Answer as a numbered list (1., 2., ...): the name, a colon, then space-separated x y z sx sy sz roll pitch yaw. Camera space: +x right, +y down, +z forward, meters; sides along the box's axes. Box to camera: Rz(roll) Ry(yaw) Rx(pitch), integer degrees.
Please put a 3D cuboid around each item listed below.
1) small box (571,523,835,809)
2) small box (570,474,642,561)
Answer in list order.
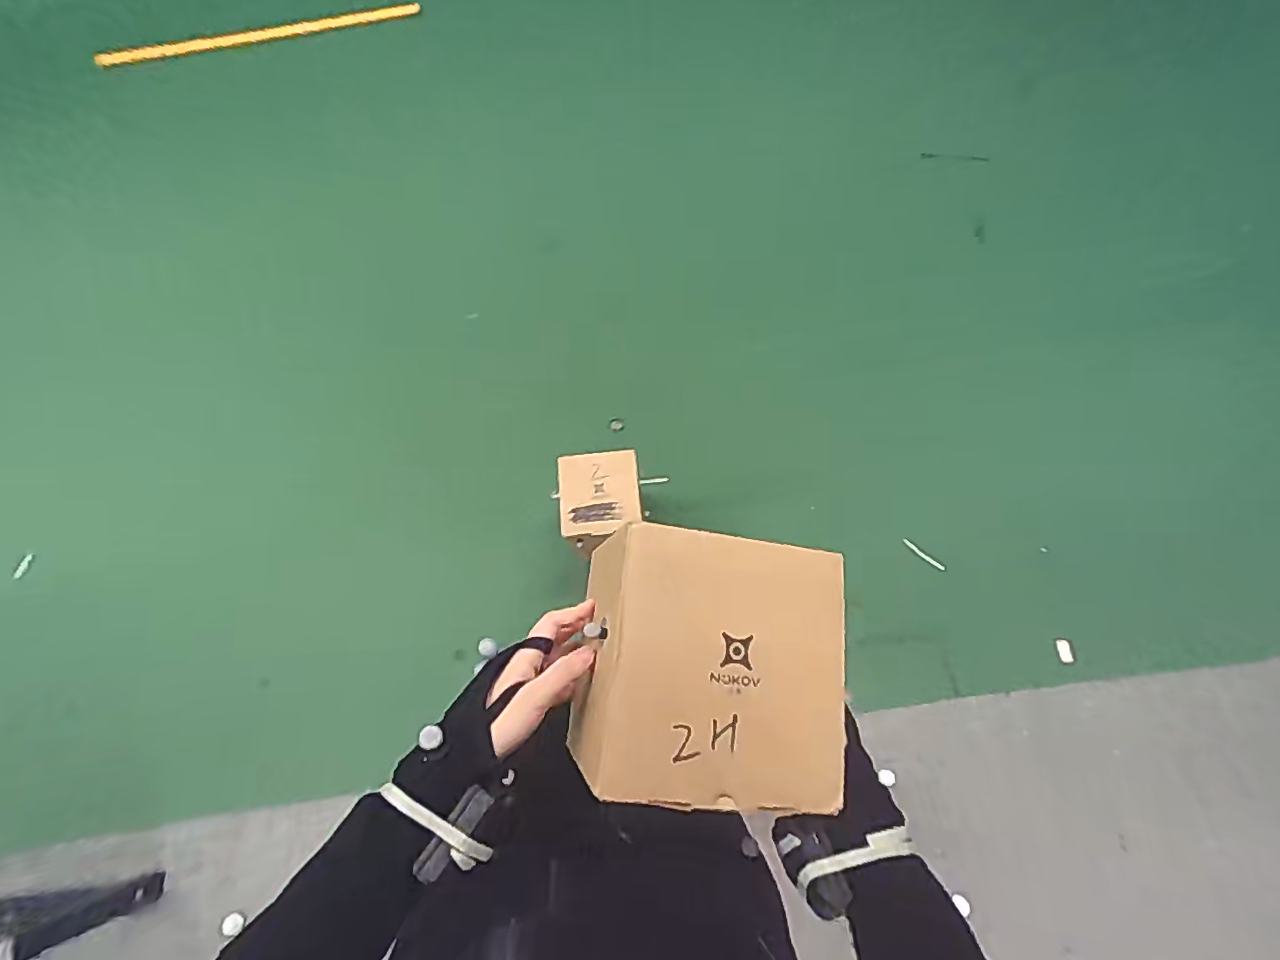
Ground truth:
1. small box: 0.041 0.146 0.446 0.168 0.176 0.179 9 73 -11
2. small box: -0.081 0.098 1.352 0.168 0.176 0.179 -6 73 1
